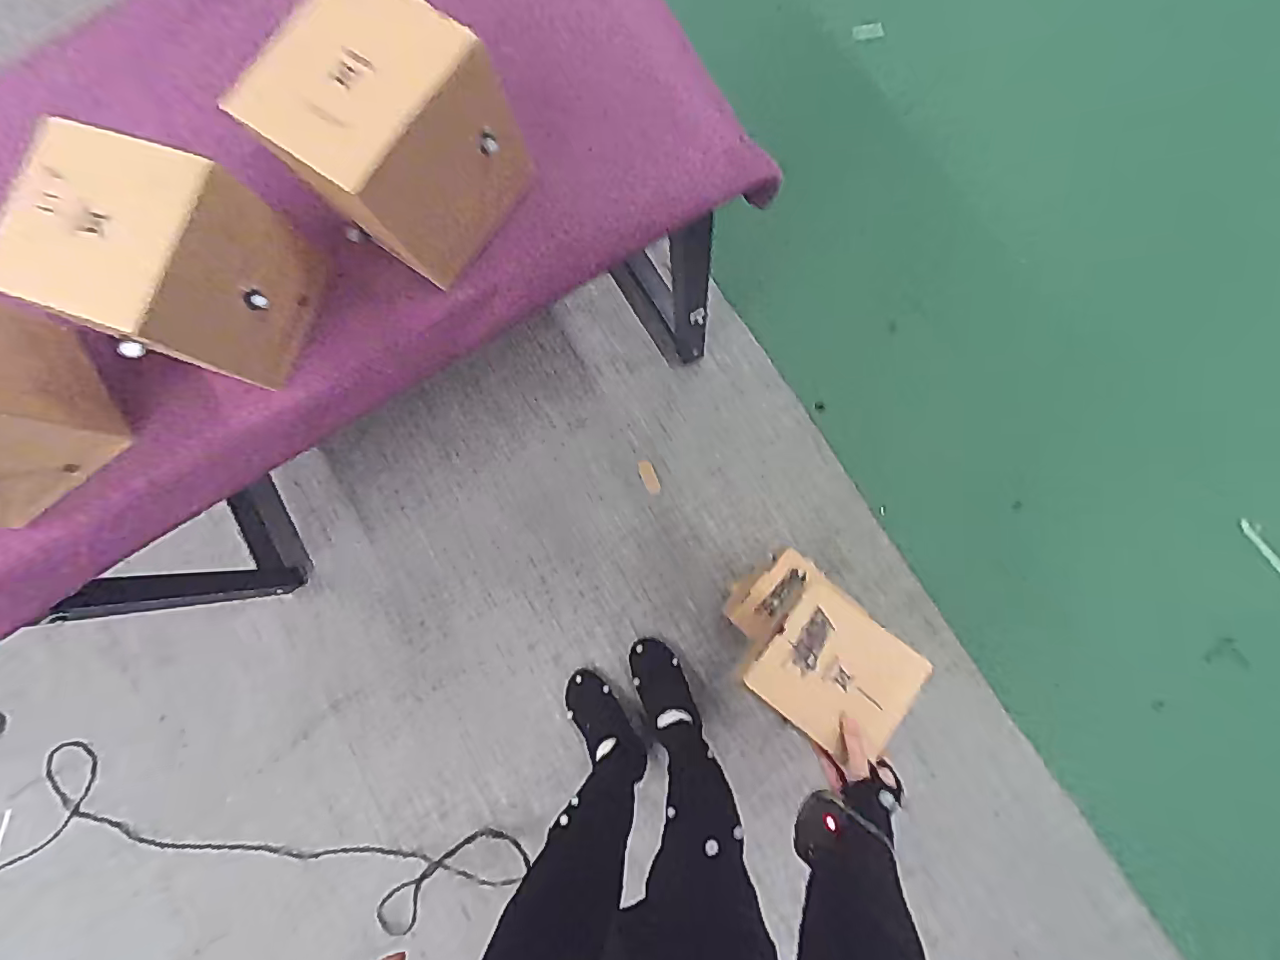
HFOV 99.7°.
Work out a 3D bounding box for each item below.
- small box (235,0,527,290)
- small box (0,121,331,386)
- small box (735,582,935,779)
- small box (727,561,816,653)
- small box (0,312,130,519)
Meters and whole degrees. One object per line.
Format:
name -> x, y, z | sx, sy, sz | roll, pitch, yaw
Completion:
small box -> -0.237, -0.335, 0.548 | 0.168, 0.176, 0.179 | 36, 87, 10
small box -> -0.461, -0.210, 0.548 | 0.179, 0.176, 0.168 | 19, 83, 7
small box -> 0.250, 0.267, 0.742 | 0.179, 0.176, 0.168 | 37, 78, 13
small box -> 0.293, 0.279, 1.162 | 0.179, 0.176, 0.168 | -20, 82, 2
small box -> -0.691, -0.072, 0.550 | 0.168, 0.176, 0.179 | -38, 80, -1
